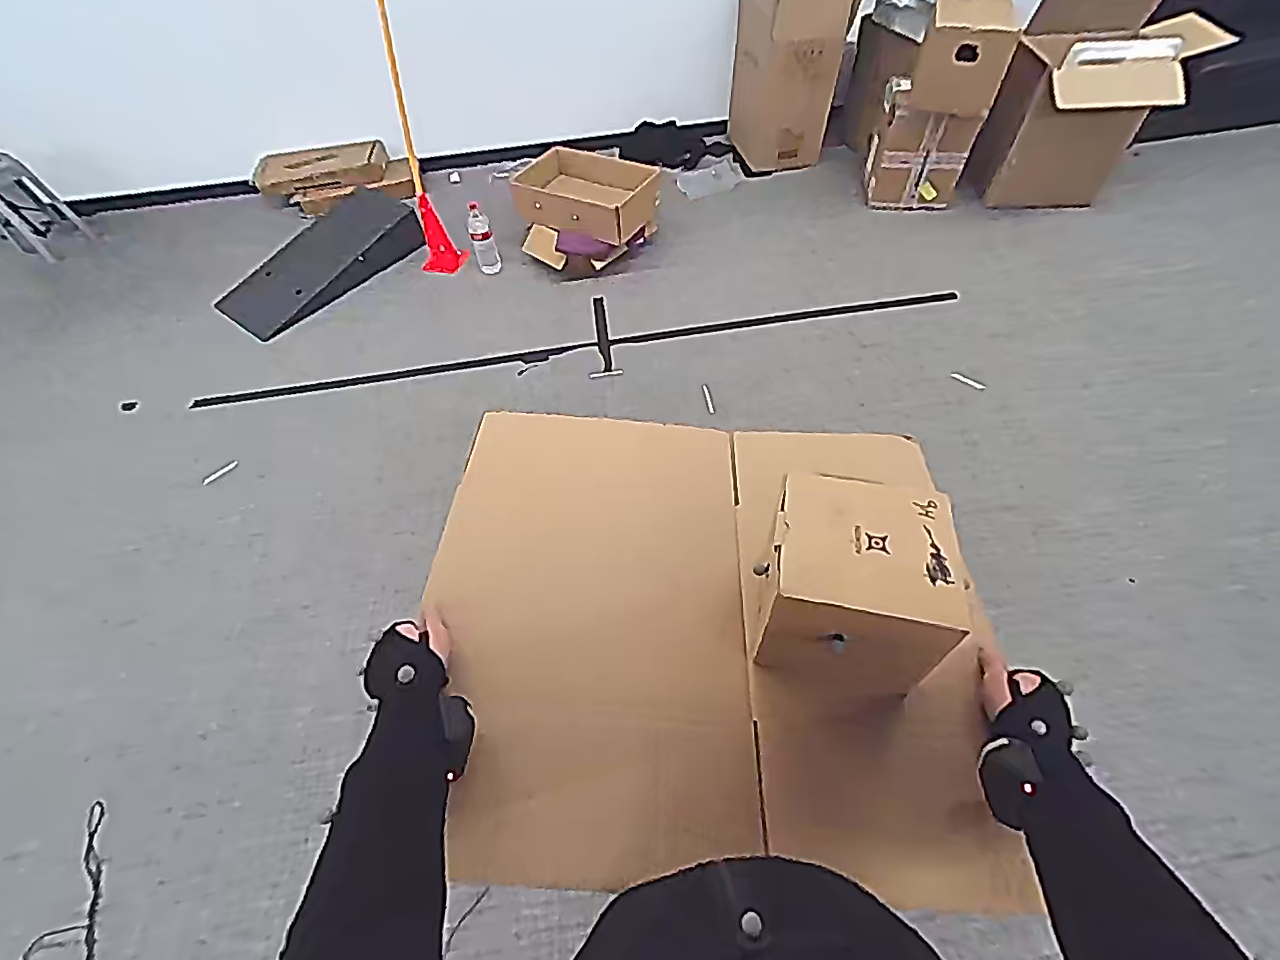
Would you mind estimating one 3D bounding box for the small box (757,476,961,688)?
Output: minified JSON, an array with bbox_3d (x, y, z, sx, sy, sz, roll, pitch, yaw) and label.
[{"bbox_3d":[0.234,0.119,0.621,0.179,0.176,0.168,8,51,10],"label":"small box"}]
